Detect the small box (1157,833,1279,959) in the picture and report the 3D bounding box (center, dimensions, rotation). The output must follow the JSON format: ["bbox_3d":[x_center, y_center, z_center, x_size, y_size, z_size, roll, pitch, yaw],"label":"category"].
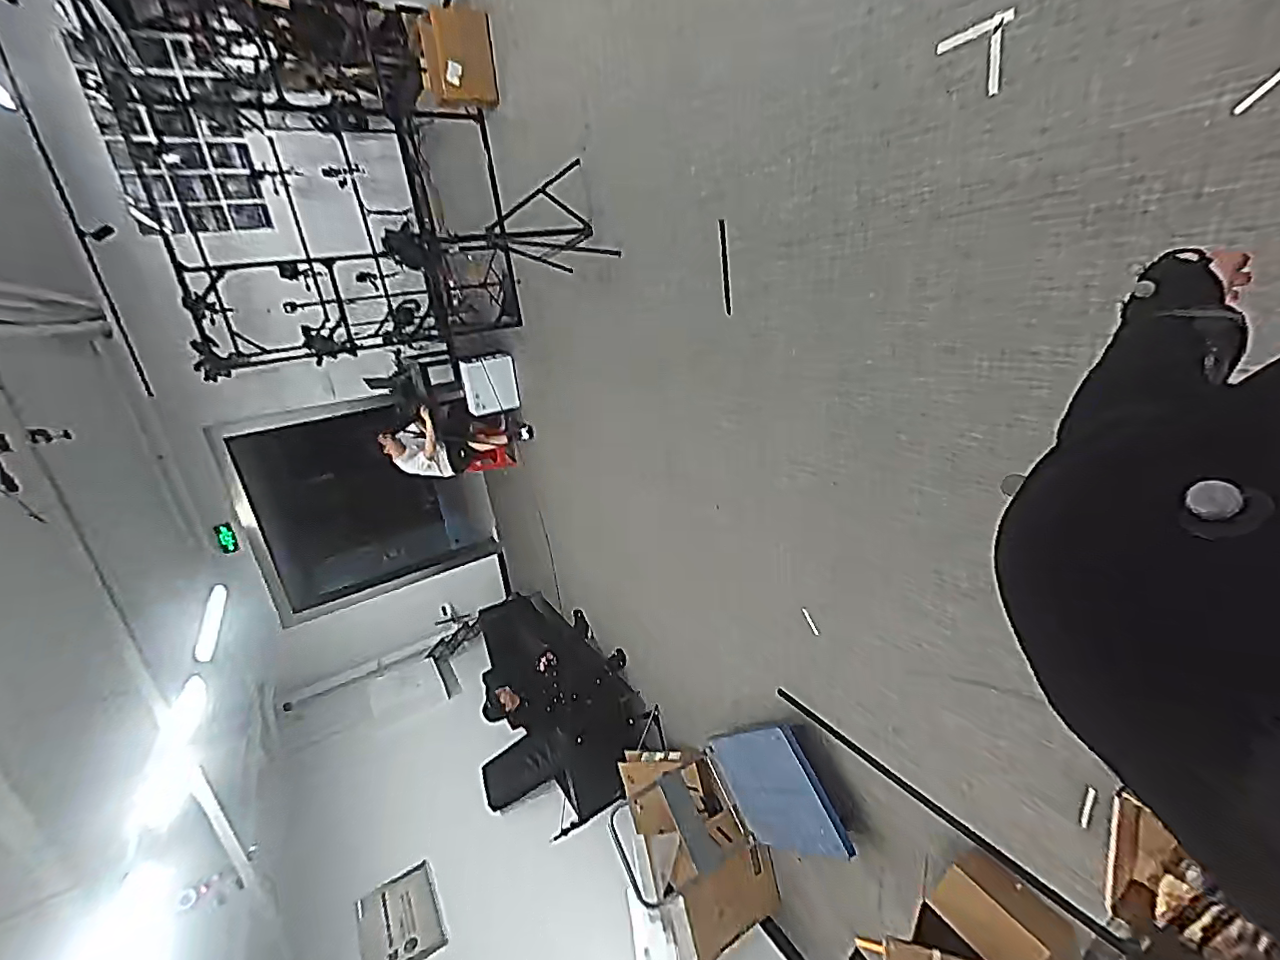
[{"bbox_3d":[1.307,0.953,1.212,0.168,0.176,0.179,16,120,57],"label":"small box"}]
